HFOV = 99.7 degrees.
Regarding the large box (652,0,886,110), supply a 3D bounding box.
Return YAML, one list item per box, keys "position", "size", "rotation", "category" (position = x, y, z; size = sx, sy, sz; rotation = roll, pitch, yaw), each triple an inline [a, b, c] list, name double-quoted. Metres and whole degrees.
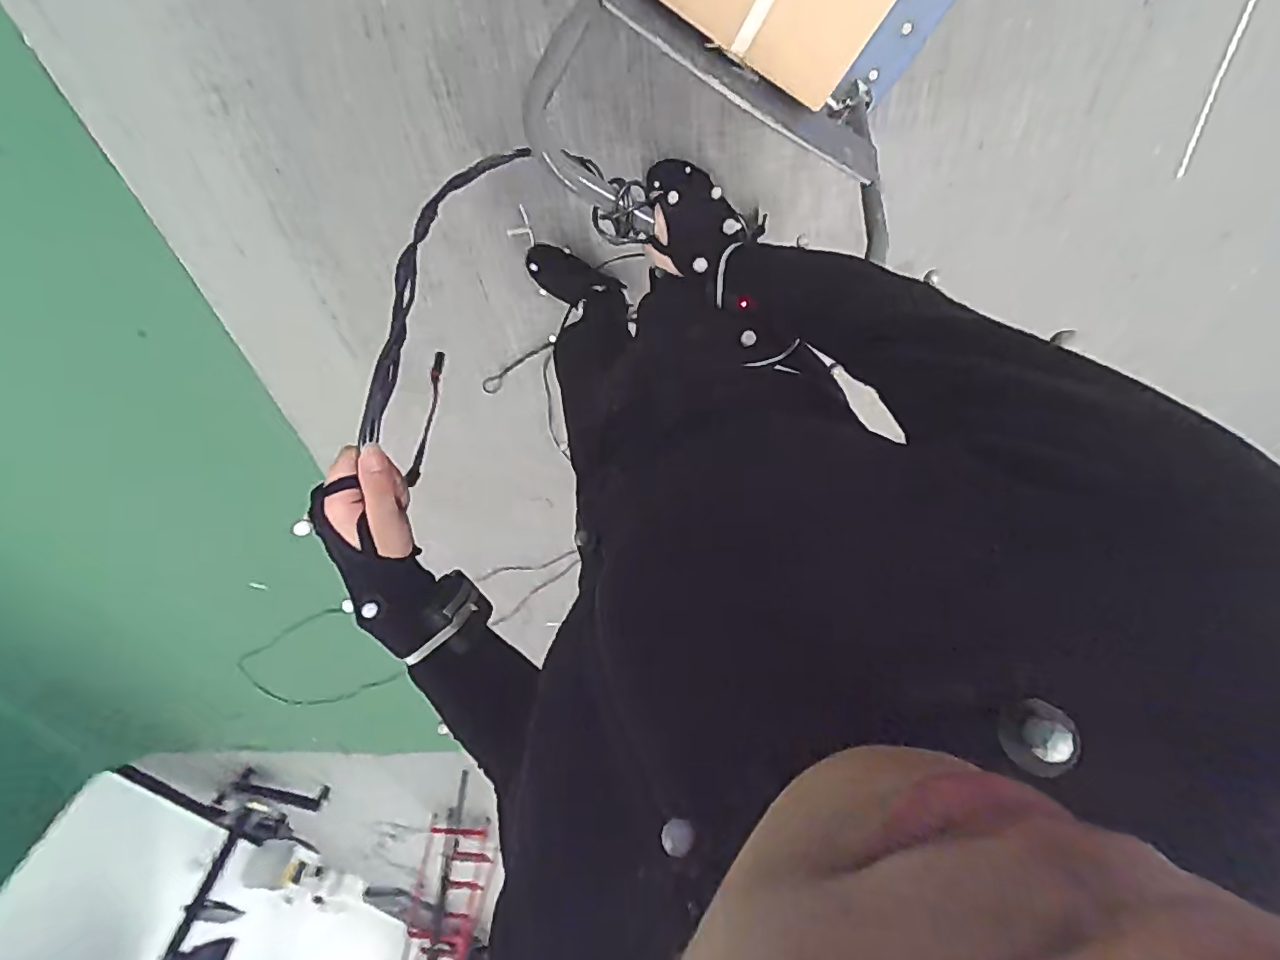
- position: [0.237, -0.841, 0.744]
  size: [0.320, 0.320, 0.408]
  rotation: [24, 140, -17]
  category: "large box"
